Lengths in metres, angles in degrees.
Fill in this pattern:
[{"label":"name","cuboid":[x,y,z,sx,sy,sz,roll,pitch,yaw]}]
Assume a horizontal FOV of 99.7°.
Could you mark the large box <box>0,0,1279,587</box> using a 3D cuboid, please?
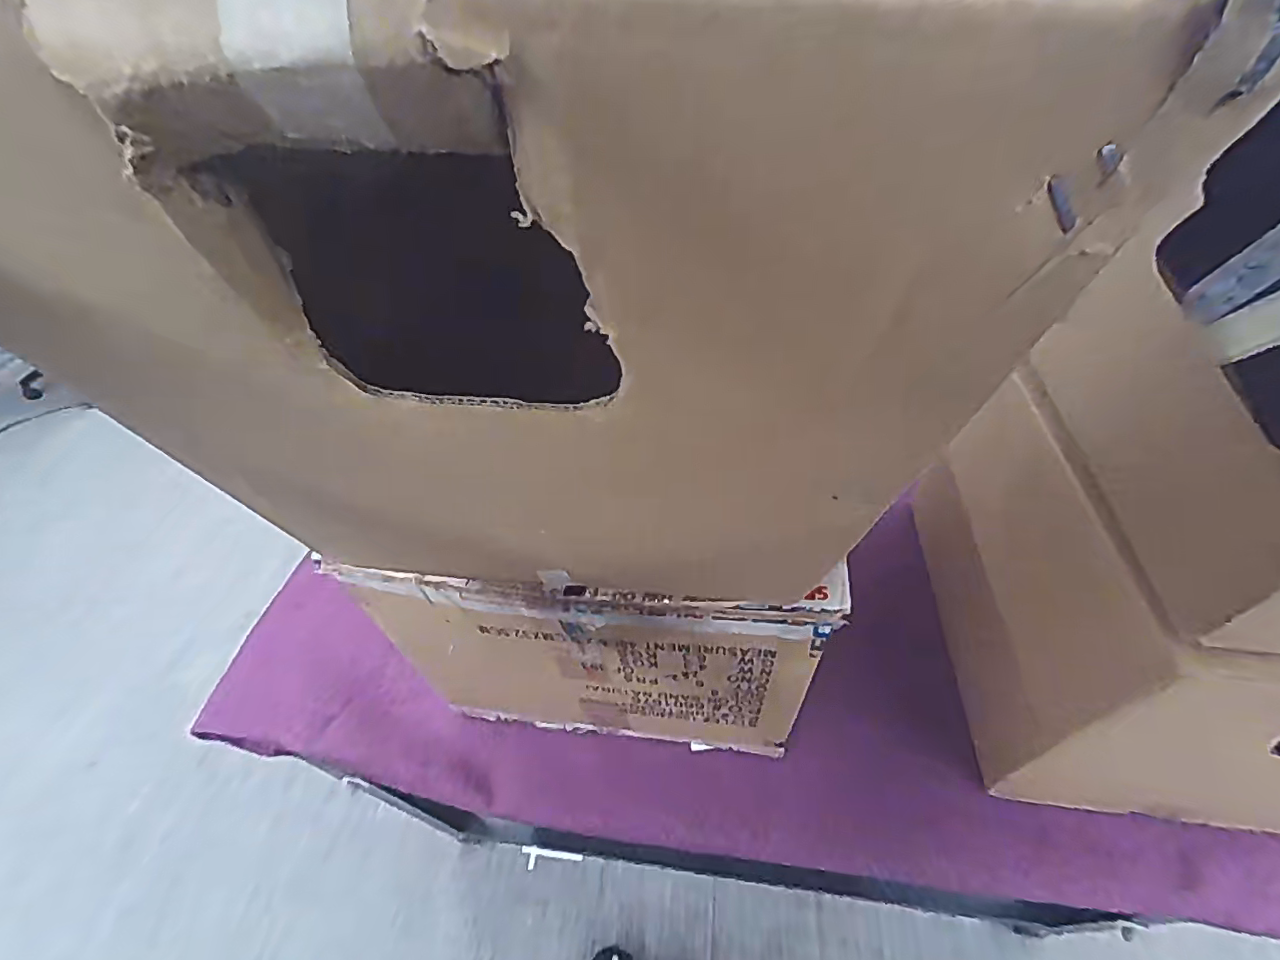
[{"label":"large box","cuboid":[-0.024,-0.183,0.314,0.320,0.320,0.408,3,62,4]}]
